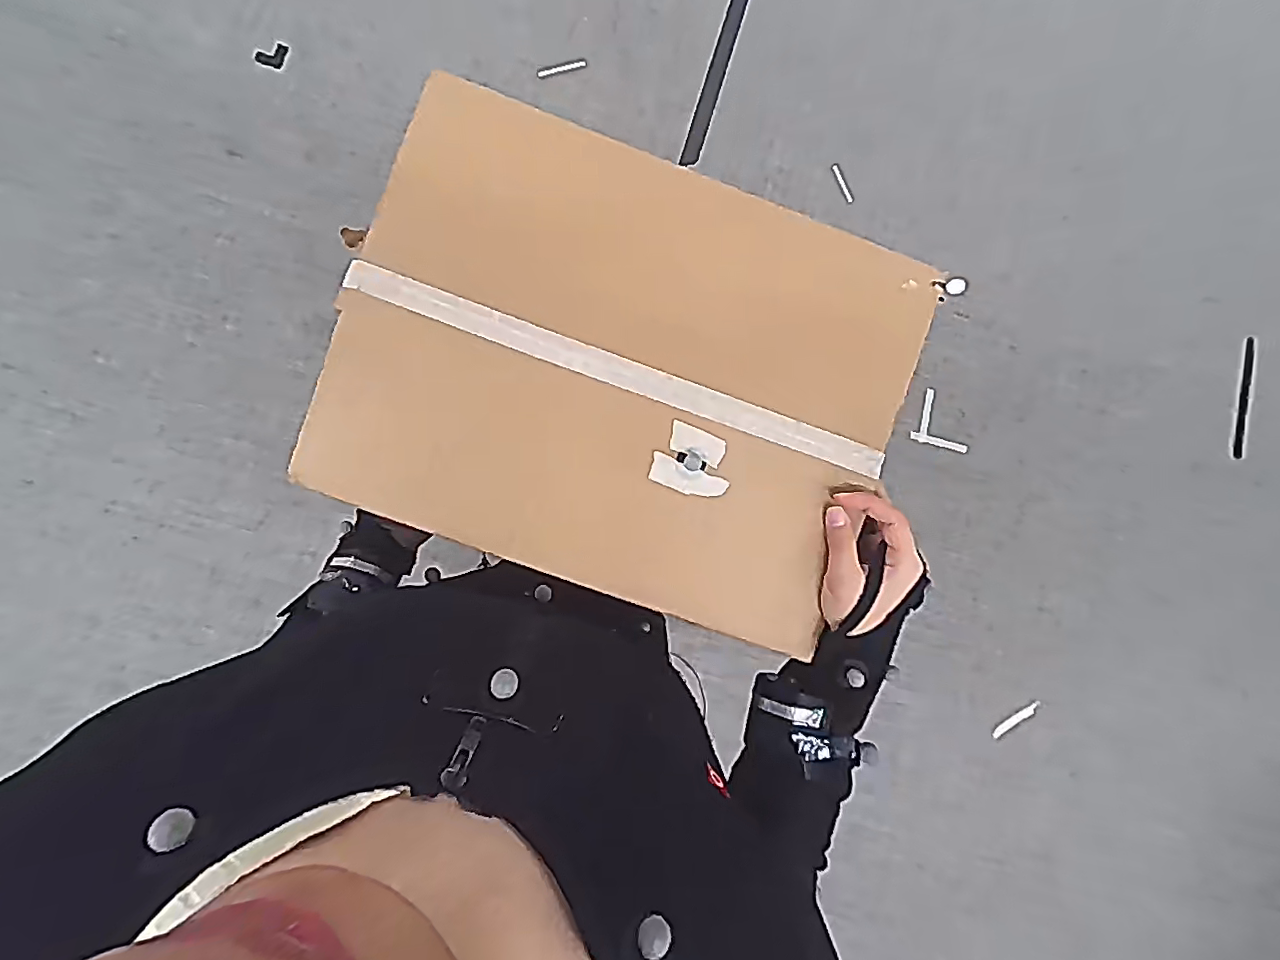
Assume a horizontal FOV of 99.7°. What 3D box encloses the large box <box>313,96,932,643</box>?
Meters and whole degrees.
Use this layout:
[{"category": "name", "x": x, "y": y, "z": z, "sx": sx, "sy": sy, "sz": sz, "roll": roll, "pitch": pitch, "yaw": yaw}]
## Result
[{"category": "large box", "x": -0.017, "y": -0.079, "z": 0.553, "sx": 0.408, "sy": 0.320, "sz": 0.320, "roll": 19, "pitch": 91, "yaw": -5}]
